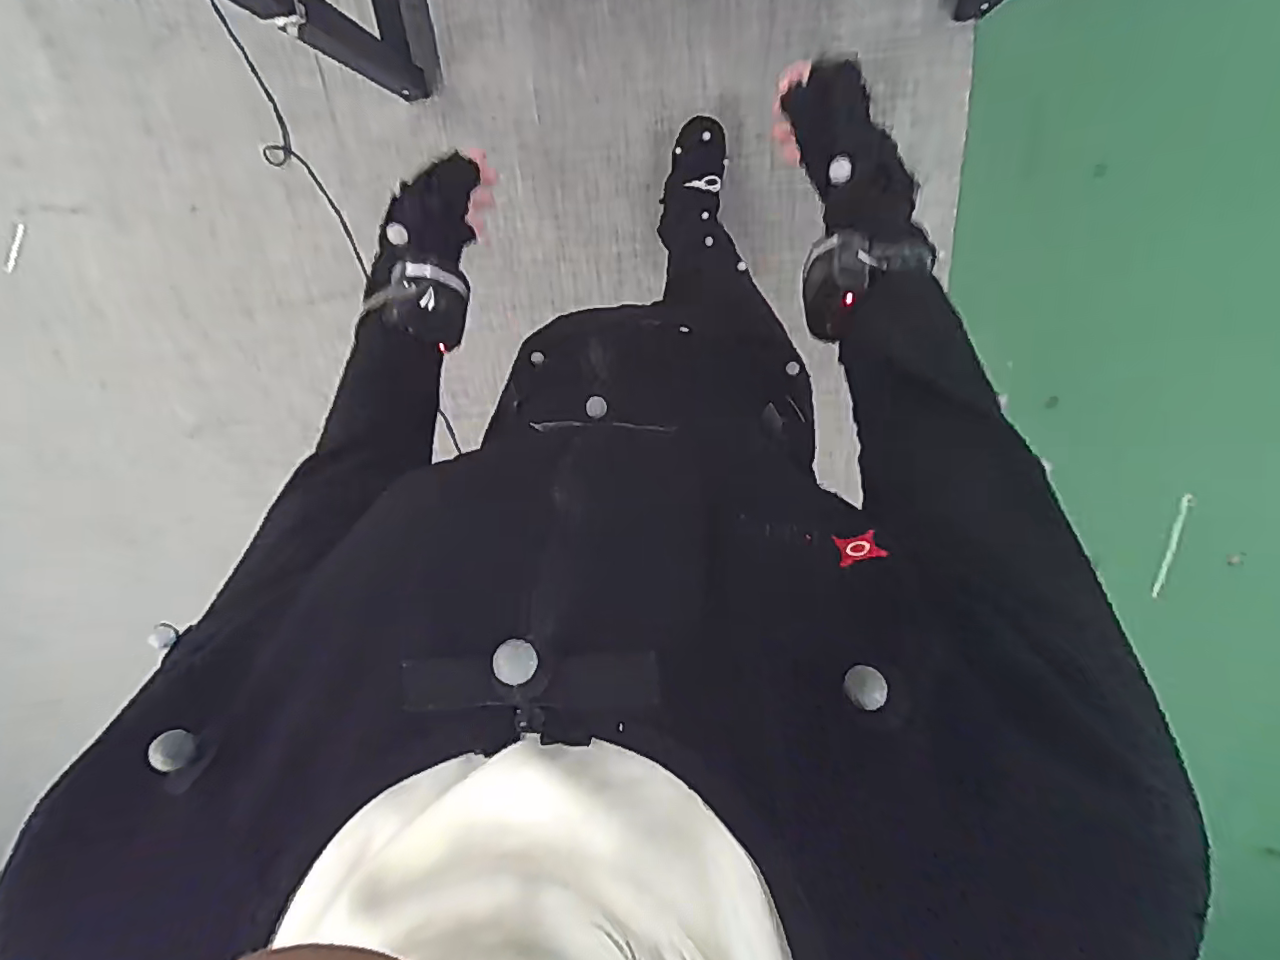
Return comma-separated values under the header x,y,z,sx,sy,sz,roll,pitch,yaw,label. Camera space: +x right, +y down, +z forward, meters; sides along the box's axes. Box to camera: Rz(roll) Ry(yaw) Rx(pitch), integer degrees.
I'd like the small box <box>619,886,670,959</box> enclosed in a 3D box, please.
x,y,z,sx,sy,sz,roll,pitch,yaw,label
0.019,1.557,1.881,0.168,0.176,0.179,-3,112,3,small box
